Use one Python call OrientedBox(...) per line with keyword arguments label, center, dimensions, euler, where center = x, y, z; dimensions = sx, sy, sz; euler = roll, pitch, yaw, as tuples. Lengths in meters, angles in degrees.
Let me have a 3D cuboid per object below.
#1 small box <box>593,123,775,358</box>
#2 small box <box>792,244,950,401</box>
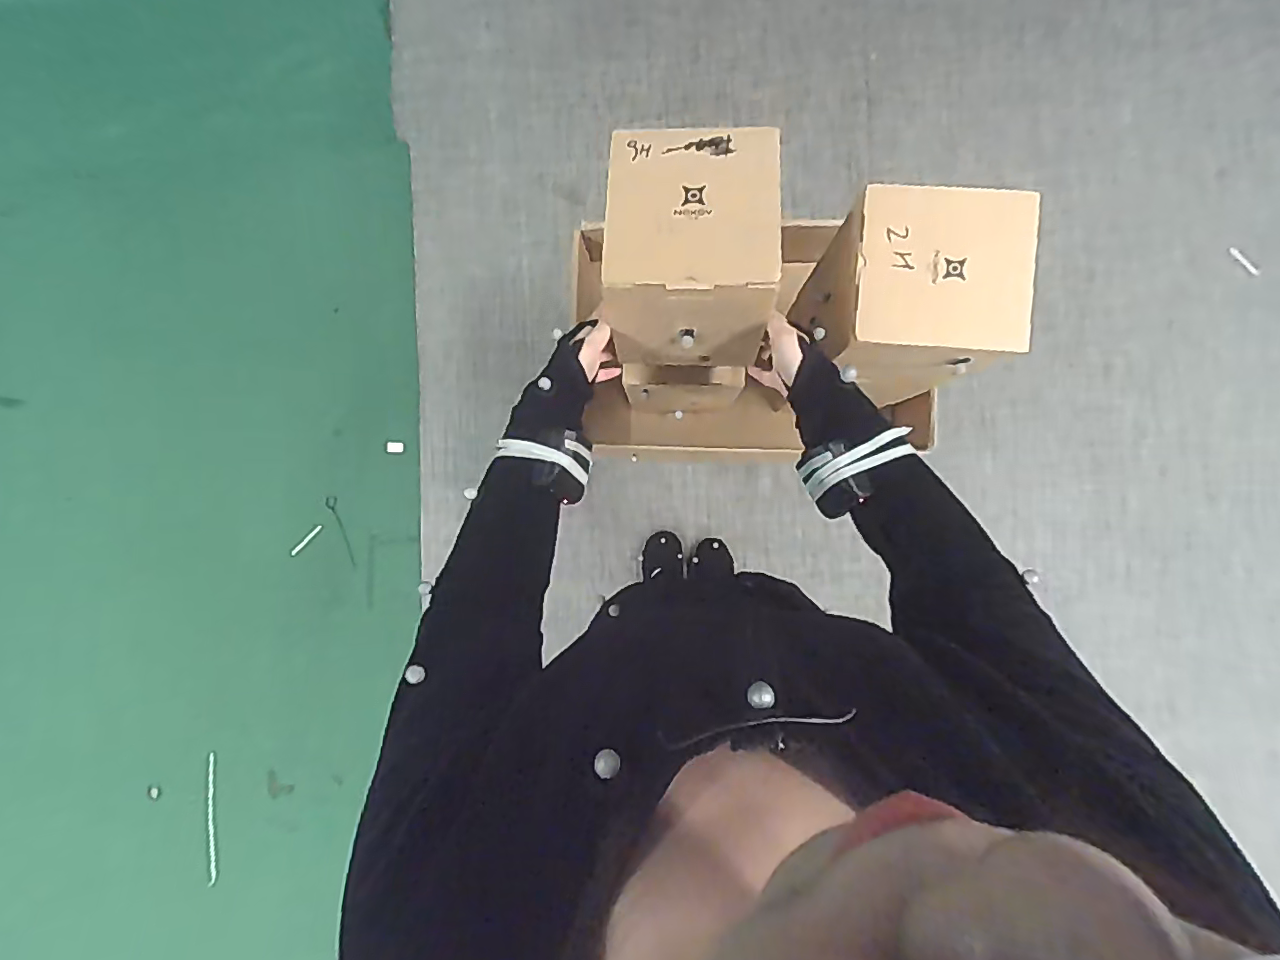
OrientedBox(label="small box", center=(0.050, -0.245, 0.589), dimensions=(0.168, 0.176, 0.179), euler=(3, 77, 5))
OrientedBox(label="small box", center=(0.324, -0.220, 0.789), dimensions=(0.168, 0.176, 0.179), euler=(4, 90, 5))
